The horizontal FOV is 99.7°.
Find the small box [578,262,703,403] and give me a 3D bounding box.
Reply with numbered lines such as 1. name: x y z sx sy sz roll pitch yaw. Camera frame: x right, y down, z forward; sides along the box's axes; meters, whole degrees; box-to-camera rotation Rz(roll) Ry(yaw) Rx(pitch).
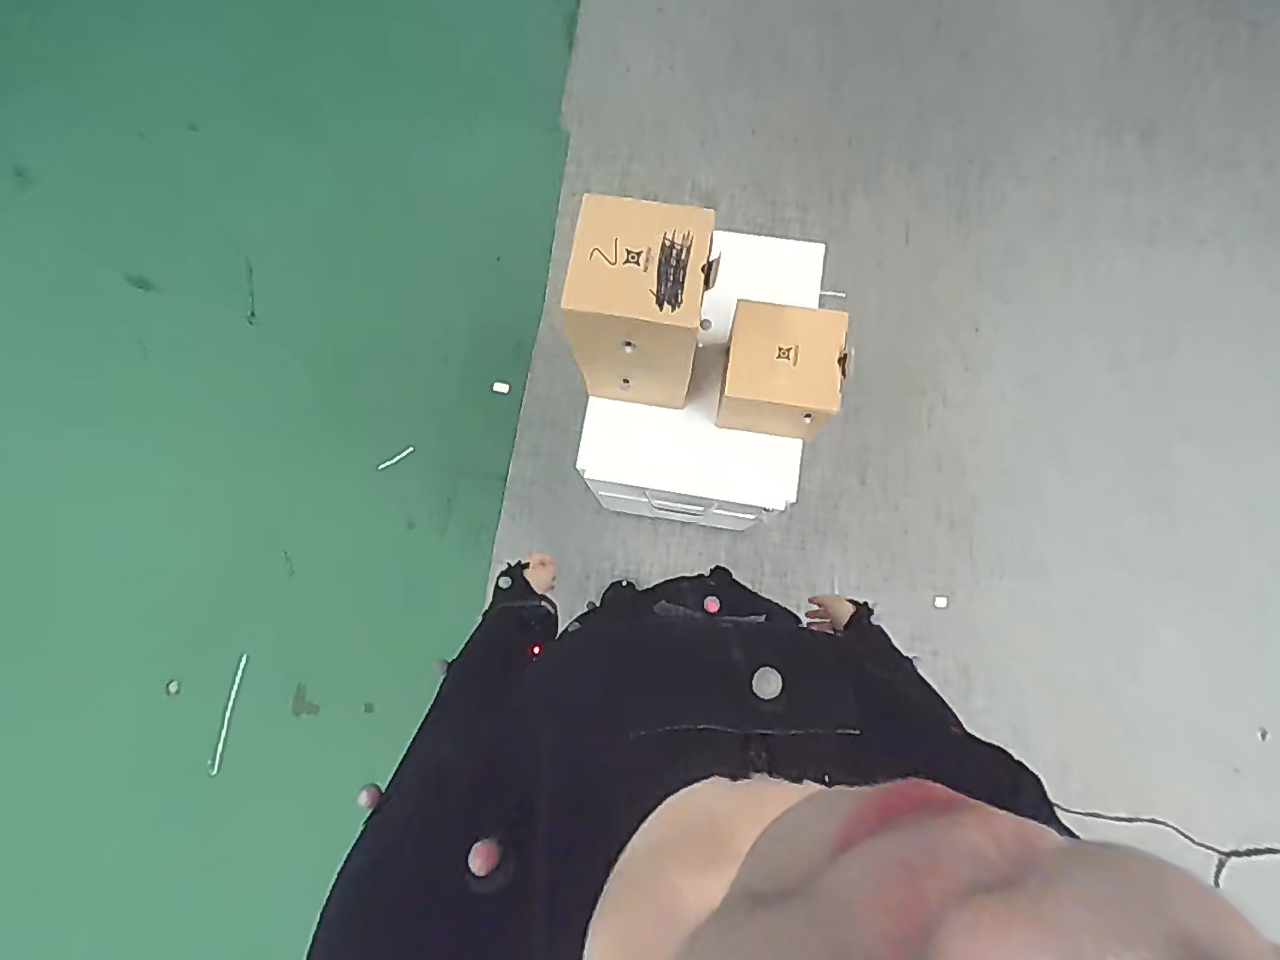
1. small box: 0.004 -0.240 0.916 0.179 0.176 0.168 8 80 3
